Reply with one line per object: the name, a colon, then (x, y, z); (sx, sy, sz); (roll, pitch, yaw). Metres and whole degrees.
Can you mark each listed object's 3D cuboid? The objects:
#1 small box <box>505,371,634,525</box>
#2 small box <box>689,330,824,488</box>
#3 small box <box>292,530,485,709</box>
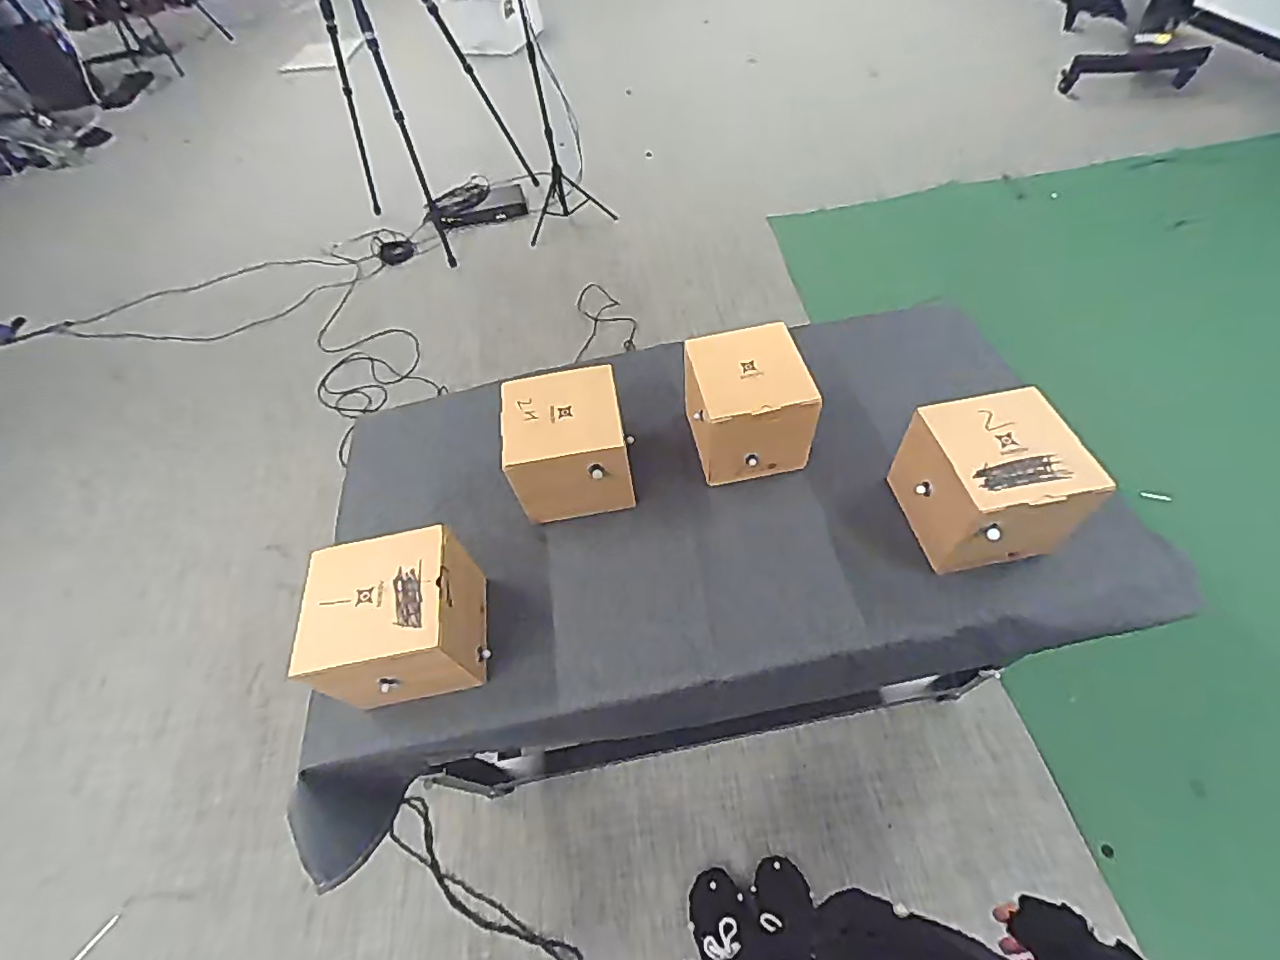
small box: (-0.106, -0.046, 0.862); (0.179, 0.176, 0.168); (-10, 56, 0)
small box: (0.175, -0.112, 0.881); (0.168, 0.176, 0.179); (-11, 56, -1)
small box: (-0.314, 0.190, 0.722); (0.179, 0.176, 0.168); (-11, 54, -1)
